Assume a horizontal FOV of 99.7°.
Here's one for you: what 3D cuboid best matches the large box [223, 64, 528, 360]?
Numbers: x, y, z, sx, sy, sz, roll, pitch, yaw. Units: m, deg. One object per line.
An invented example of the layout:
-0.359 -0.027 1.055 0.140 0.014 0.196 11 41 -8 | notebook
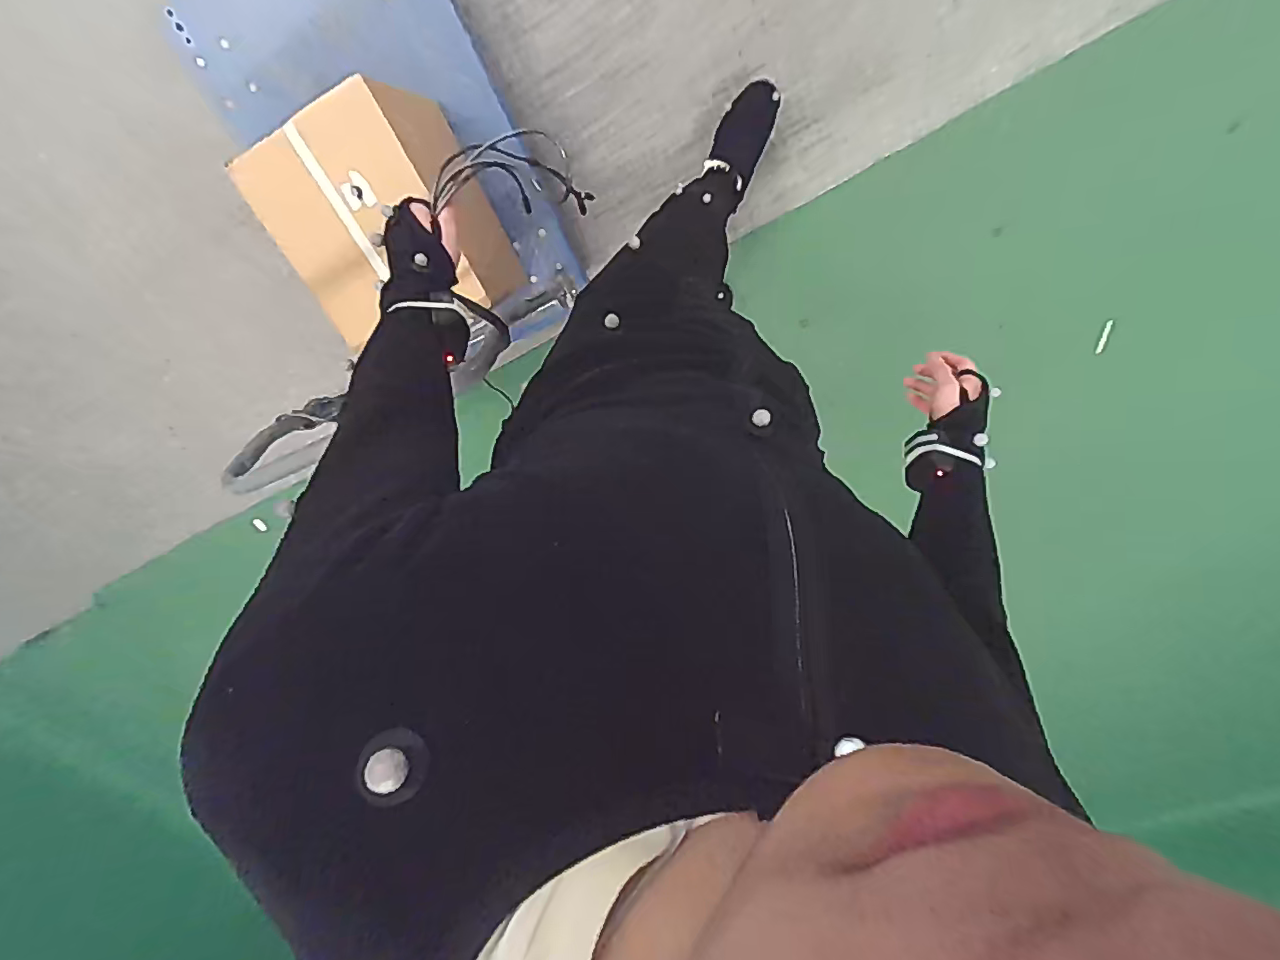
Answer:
-0.490 -0.522 1.104 0.320 0.320 0.408 -21 115 15 | large box
